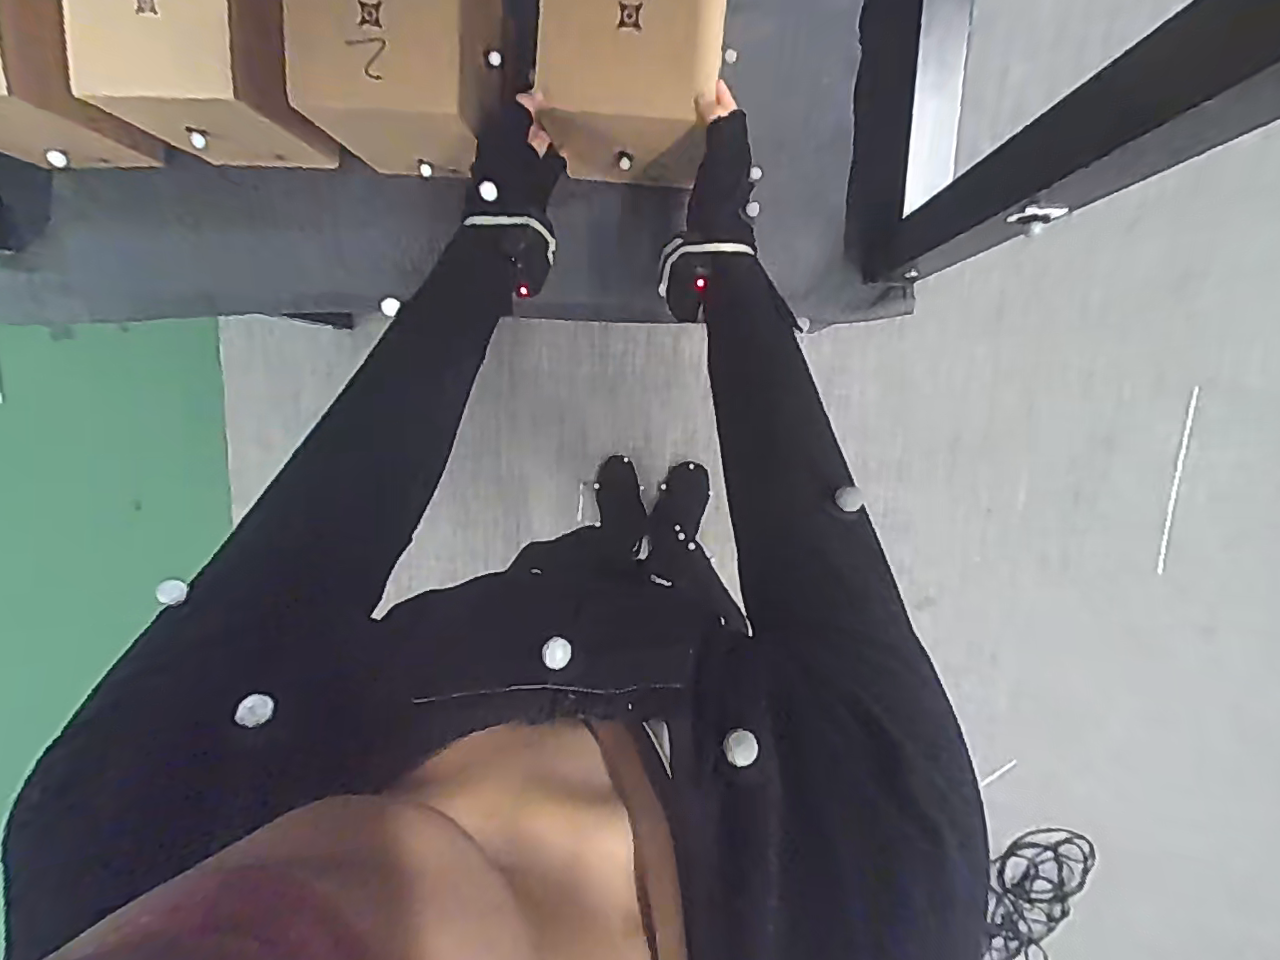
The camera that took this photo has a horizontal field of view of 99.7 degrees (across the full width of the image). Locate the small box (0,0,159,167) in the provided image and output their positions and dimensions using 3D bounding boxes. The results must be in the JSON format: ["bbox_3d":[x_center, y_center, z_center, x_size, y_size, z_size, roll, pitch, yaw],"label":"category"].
[{"bbox_3d":[-0.681,-0.469,0.587,0.168,0.176,0.179,1,99,3],"label":"small box"}]

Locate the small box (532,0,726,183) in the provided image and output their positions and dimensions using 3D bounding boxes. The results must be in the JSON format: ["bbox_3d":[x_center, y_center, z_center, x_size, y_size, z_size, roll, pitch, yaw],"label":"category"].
[{"bbox_3d":[-0.003,-0.429,0.553,0.168,0.176,0.179,7,99,3],"label":"small box"}]

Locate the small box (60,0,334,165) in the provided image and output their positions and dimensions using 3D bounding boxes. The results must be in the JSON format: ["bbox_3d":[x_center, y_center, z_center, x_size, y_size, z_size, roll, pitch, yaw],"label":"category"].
[{"bbox_3d":[-0.454,-0.463,0.579,0.168,0.176,0.179,3,98,2],"label":"small box"}]
